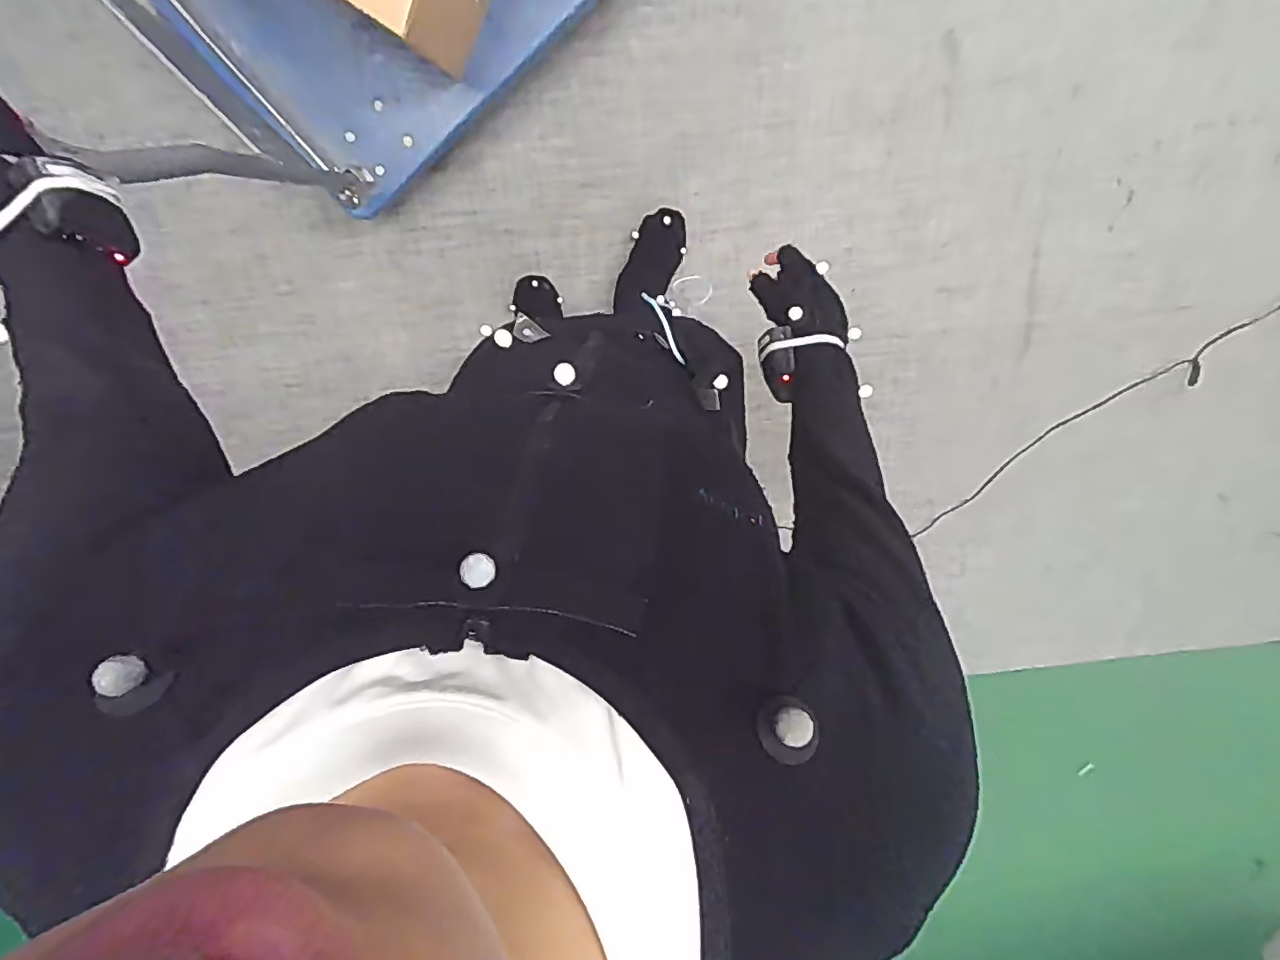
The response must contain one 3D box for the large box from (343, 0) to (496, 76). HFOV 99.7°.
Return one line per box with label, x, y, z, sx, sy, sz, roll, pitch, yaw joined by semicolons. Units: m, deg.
large box;-0.405;-0.862;0.749;0.408;0.320;0.320;27;113;-15
